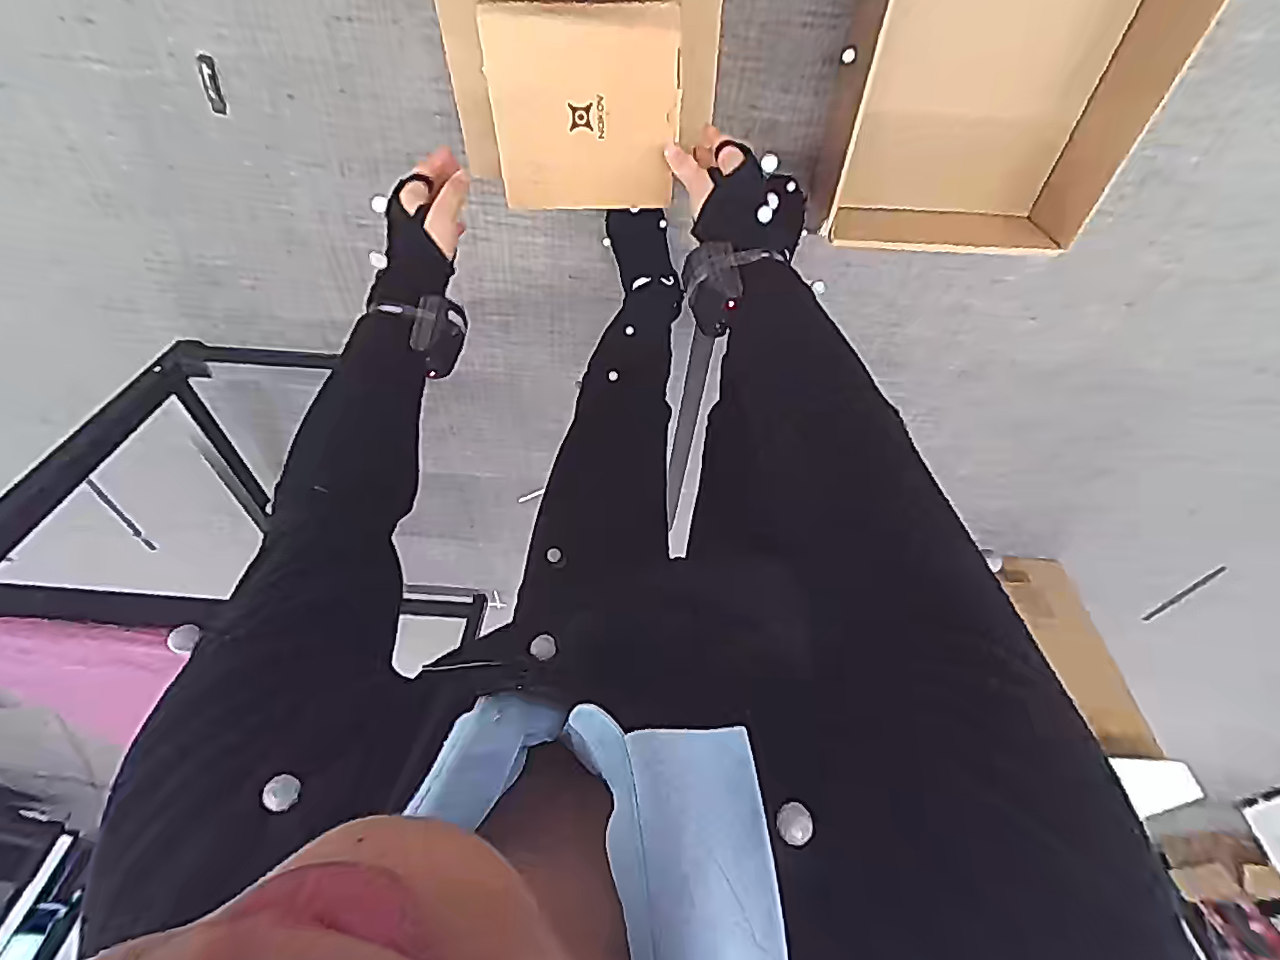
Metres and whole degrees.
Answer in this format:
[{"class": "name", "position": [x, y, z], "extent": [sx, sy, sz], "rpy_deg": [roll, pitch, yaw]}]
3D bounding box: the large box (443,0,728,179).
[{"class": "large box", "position": [-0.056, -0.641, 0.661], "extent": [0.320, 0.320, 0.408], "rpy_deg": [2, 138, 2]}]
